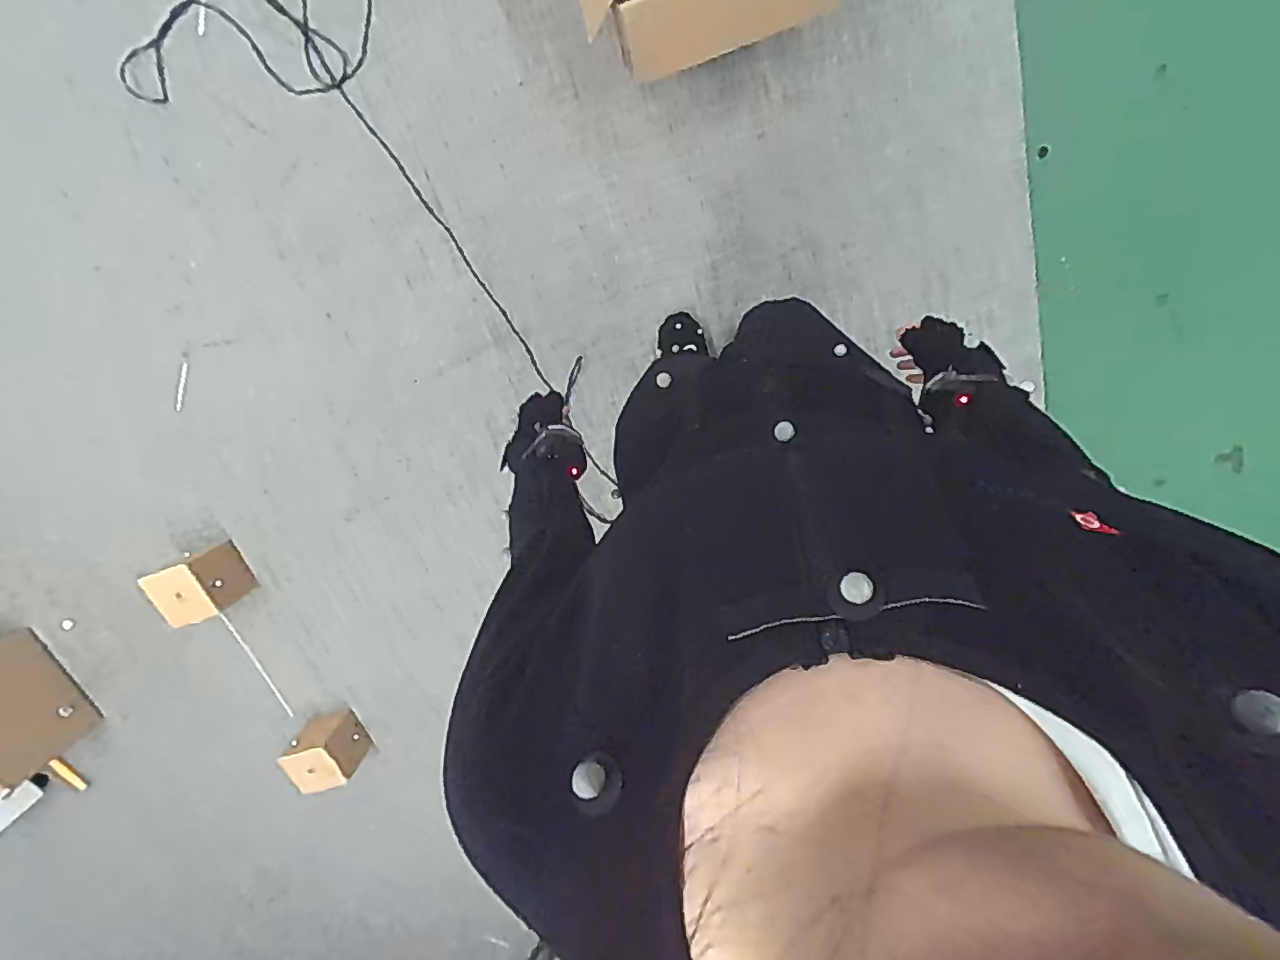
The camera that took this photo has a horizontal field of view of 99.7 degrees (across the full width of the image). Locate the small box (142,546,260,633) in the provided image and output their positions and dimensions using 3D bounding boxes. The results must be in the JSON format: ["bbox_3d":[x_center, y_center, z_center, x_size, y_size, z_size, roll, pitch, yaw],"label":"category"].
[{"bbox_3d":[-1.286,0.314,1.598,0.168,0.176,0.179,-18,109,8],"label":"small box"}]

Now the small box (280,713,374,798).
[{"bbox_3d":[-1.037,0.917,1.808,0.179,0.176,0.168,-18,109,8],"label":"small box"}]
